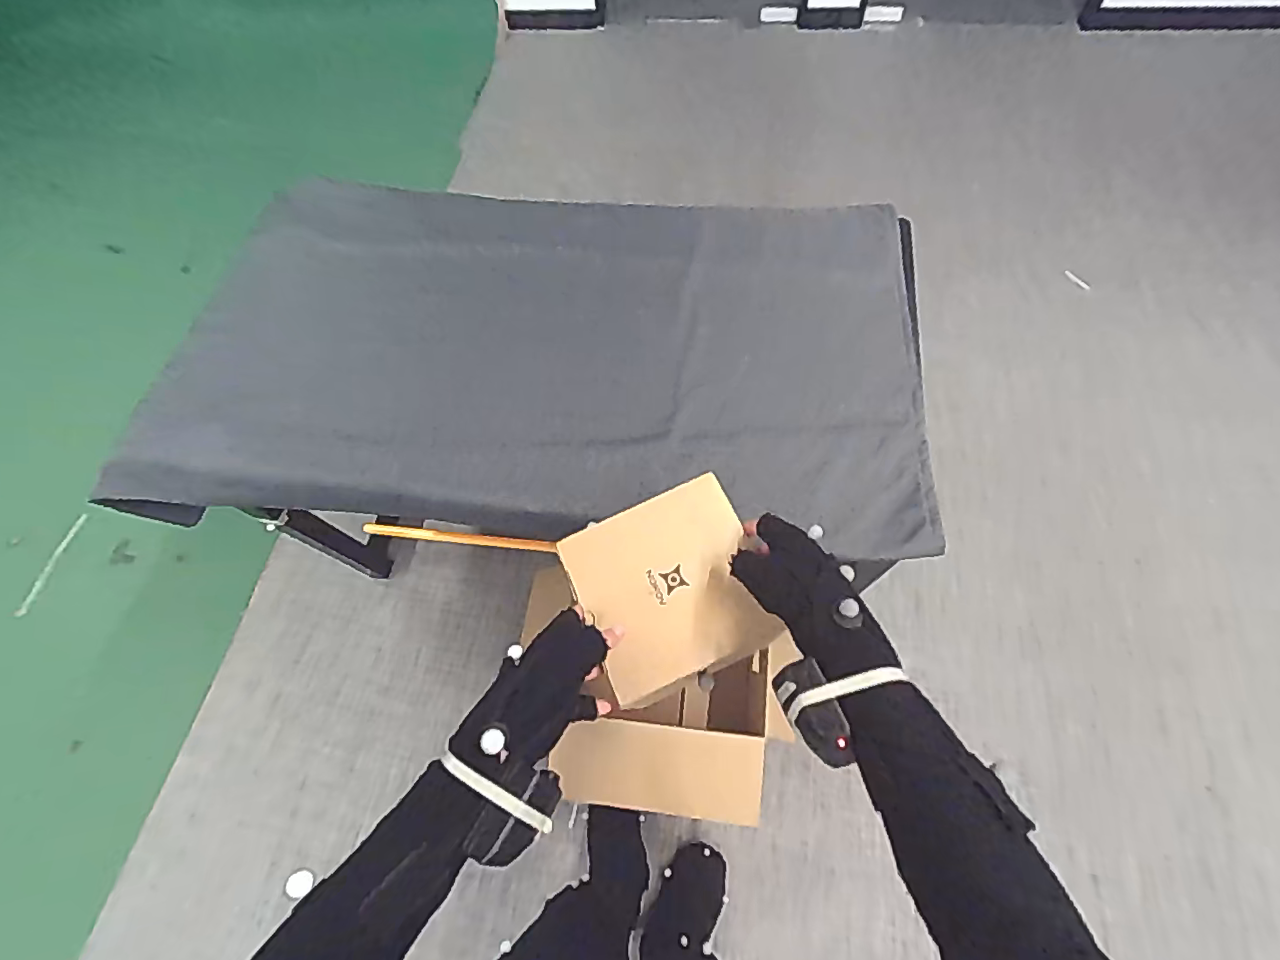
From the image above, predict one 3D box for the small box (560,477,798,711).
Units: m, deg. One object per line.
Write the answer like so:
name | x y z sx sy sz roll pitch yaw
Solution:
small box | 0.039 0.127 0.577 0.179 0.176 0.168 -25 67 -4
